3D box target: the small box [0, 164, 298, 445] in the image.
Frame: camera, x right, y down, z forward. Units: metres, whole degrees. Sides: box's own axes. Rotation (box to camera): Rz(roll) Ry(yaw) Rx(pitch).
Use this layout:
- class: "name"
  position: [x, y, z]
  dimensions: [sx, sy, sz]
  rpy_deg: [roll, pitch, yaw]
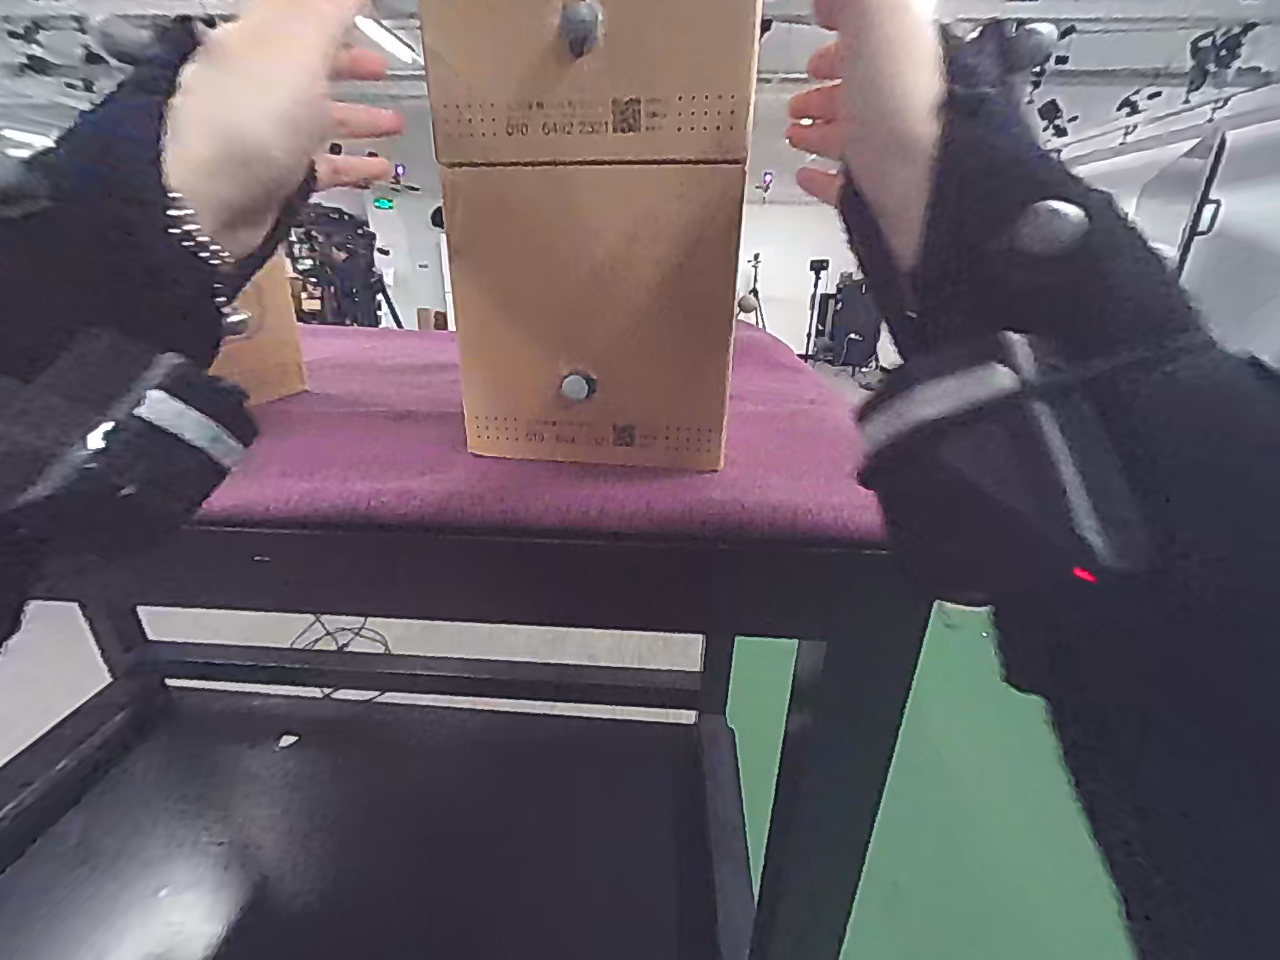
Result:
- class: "small box"
  position: [-0.402, -0.135, 0.419]
  dimensions: [0.168, 0.176, 0.179]
  rpy_deg: [4, 22, 7]

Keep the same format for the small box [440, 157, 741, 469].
- class: "small box"
  position: [-0.018, -0.119, 0.385]
  dimensions: [0.168, 0.176, 0.179]
  rpy_deg: [3, 23, 8]

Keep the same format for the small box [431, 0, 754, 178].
- class: "small box"
  position: [-0.016, -0.272, 0.325]
  dimensions: [0.168, 0.176, 0.179]
  rpy_deg: [3, 22, 9]
